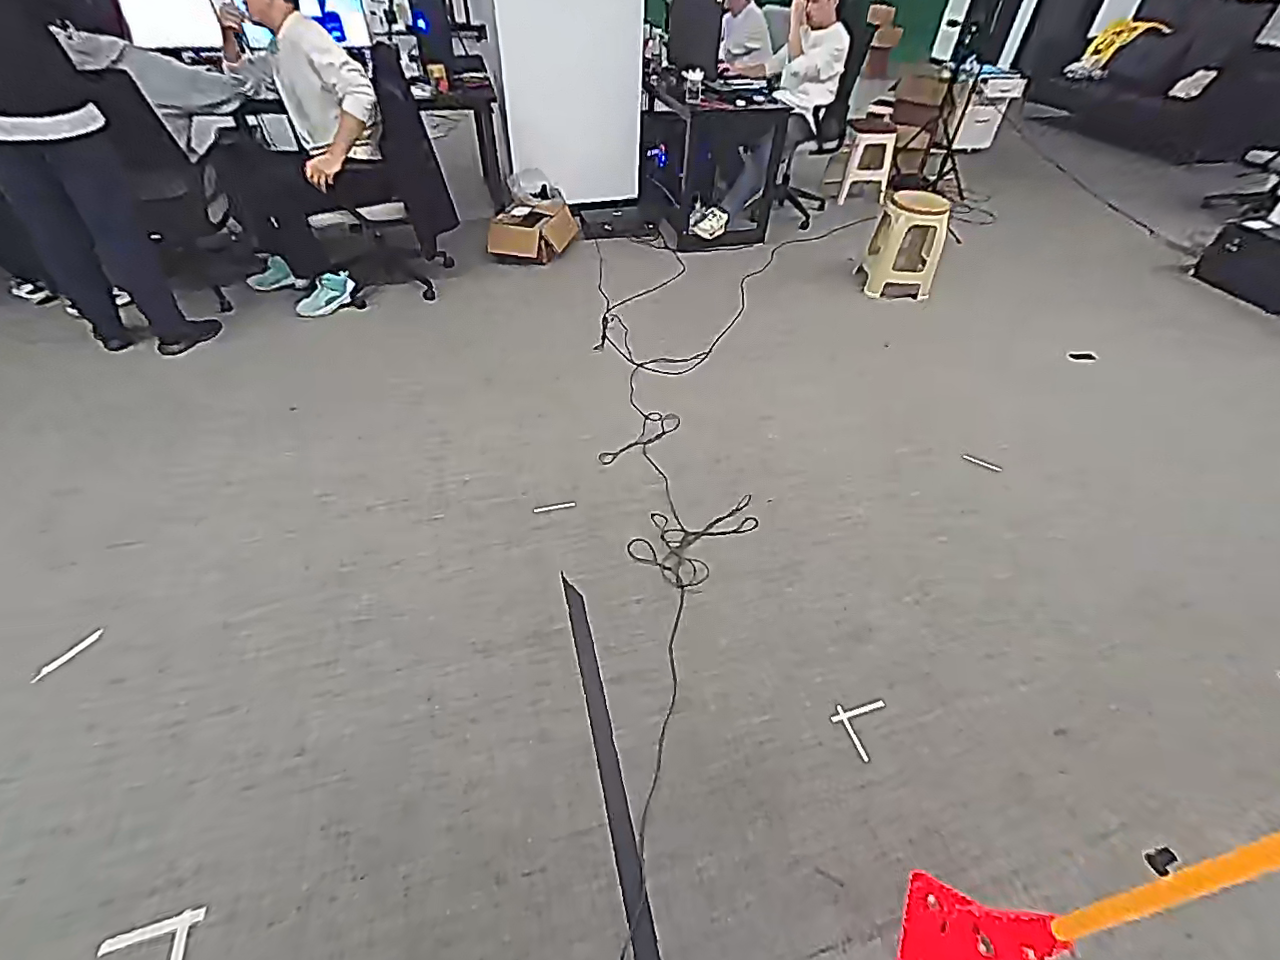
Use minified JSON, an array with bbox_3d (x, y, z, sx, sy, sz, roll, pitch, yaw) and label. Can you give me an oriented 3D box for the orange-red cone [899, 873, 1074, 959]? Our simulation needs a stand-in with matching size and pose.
[{"bbox_3d":[0.620,0.792,0.922,0.198,0.360,0.199,23,50,20],"label":"orange-red cone"}]
